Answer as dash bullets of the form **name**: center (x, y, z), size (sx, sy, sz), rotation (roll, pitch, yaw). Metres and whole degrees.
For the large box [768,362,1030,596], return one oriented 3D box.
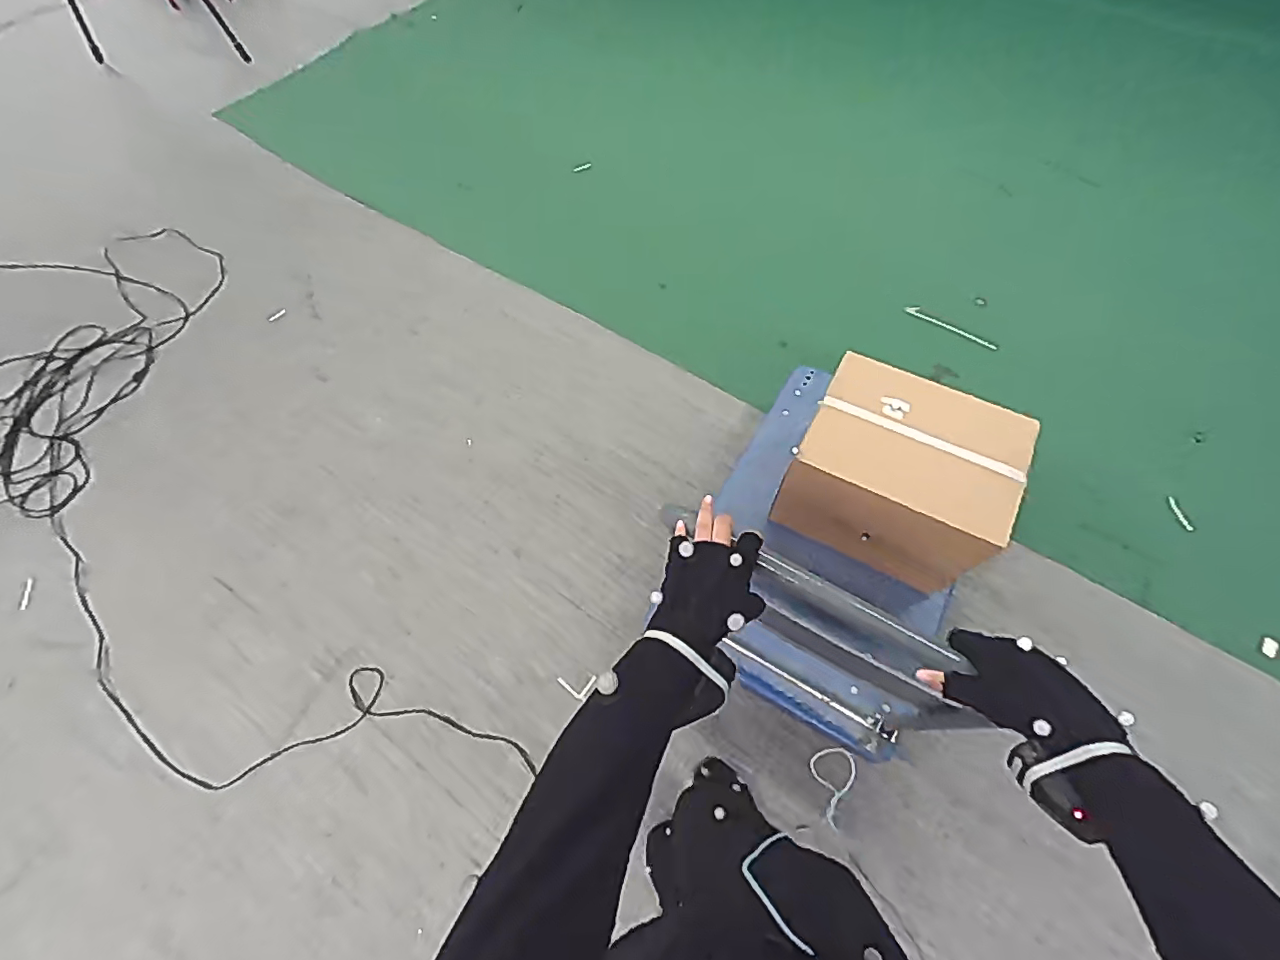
- **large box**: center (0.551, 0.005, 1.211), size (0.408, 0.320, 0.320), rotation (26, 65, 16)
